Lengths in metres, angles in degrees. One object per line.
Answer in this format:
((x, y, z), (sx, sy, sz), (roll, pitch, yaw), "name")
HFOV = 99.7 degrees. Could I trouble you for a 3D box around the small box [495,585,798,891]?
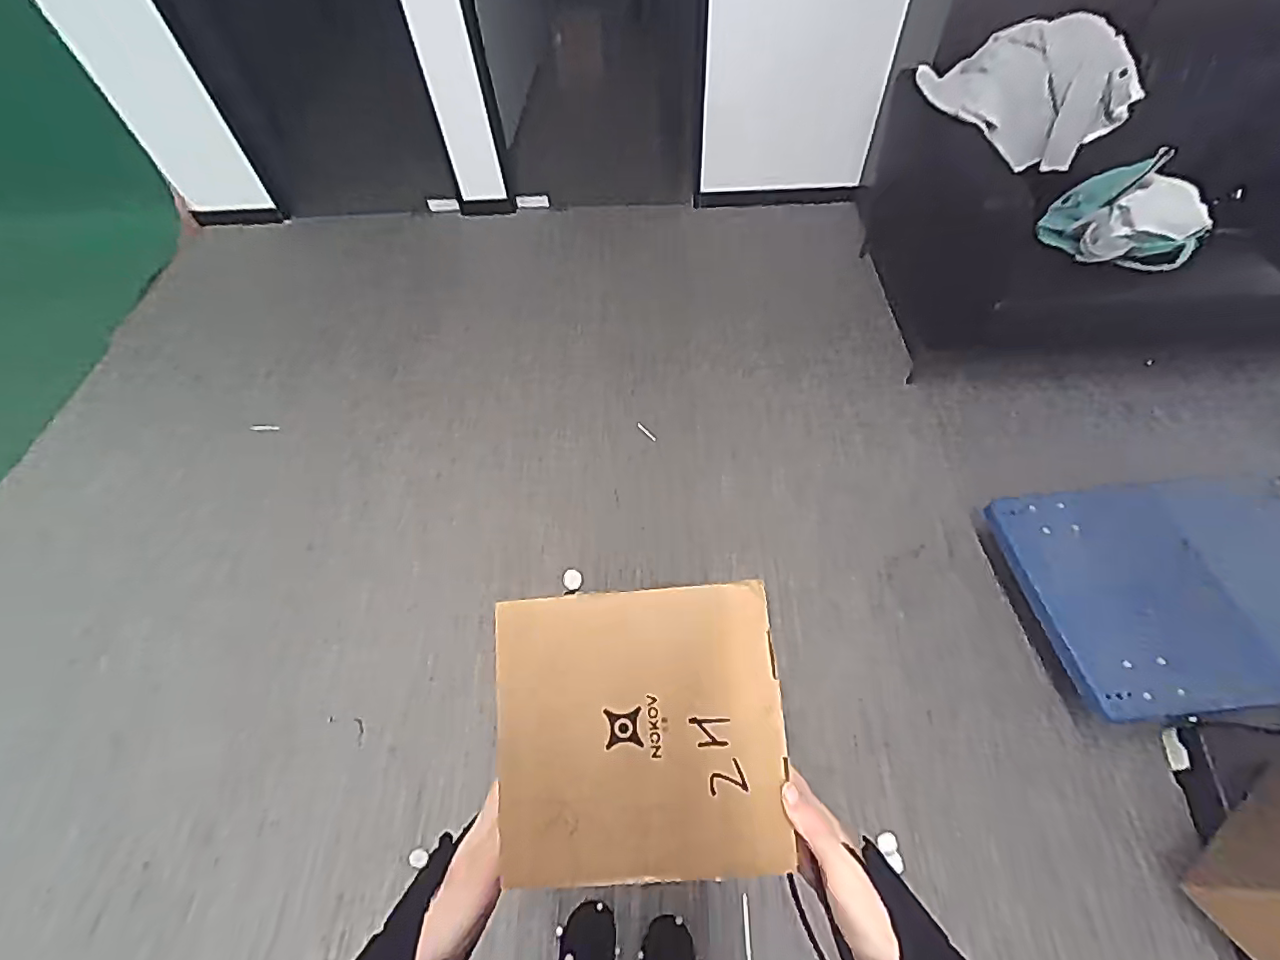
((0.004, 0.168, 0.403), (0.179, 0.176, 0.168), (-5, 80, 2), "small box")
